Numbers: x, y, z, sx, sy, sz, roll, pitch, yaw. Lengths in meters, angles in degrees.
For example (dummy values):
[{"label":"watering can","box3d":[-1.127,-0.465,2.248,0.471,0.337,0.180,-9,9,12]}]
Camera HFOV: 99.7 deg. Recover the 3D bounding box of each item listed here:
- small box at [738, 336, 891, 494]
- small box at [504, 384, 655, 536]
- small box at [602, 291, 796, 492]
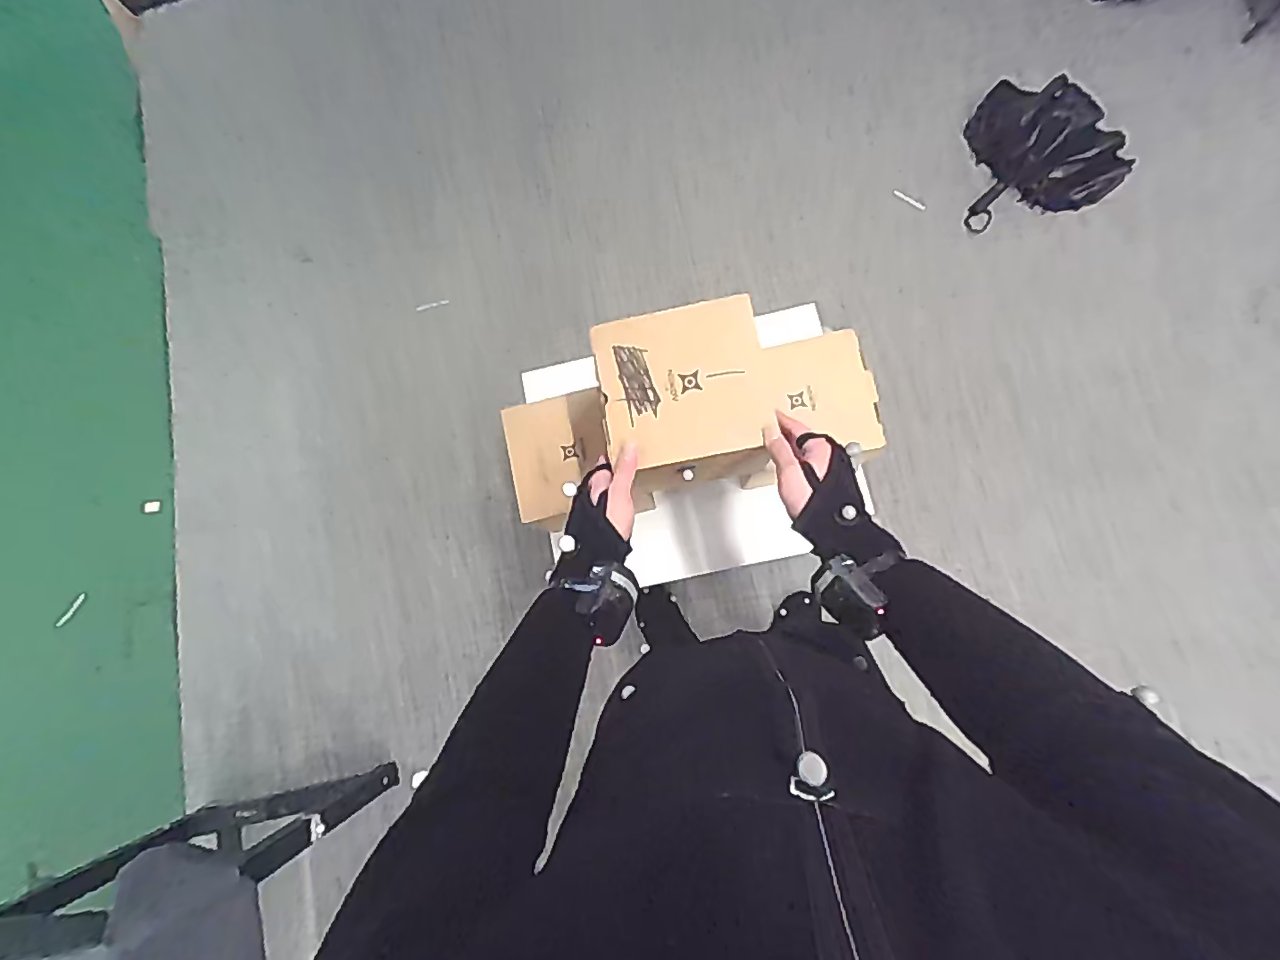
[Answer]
[{"label":"small box","box3d":[0.227,-0.083,0.781,0.179,0.176,0.168,-11,78,3]},{"label":"small box","box3d":[-0.079,-0.021,0.787,0.179,0.176,0.168,-13,77,1]},{"label":"small box","box3d":[0.062,-0.088,0.625,0.179,0.176,0.168,-10,79,1]}]
